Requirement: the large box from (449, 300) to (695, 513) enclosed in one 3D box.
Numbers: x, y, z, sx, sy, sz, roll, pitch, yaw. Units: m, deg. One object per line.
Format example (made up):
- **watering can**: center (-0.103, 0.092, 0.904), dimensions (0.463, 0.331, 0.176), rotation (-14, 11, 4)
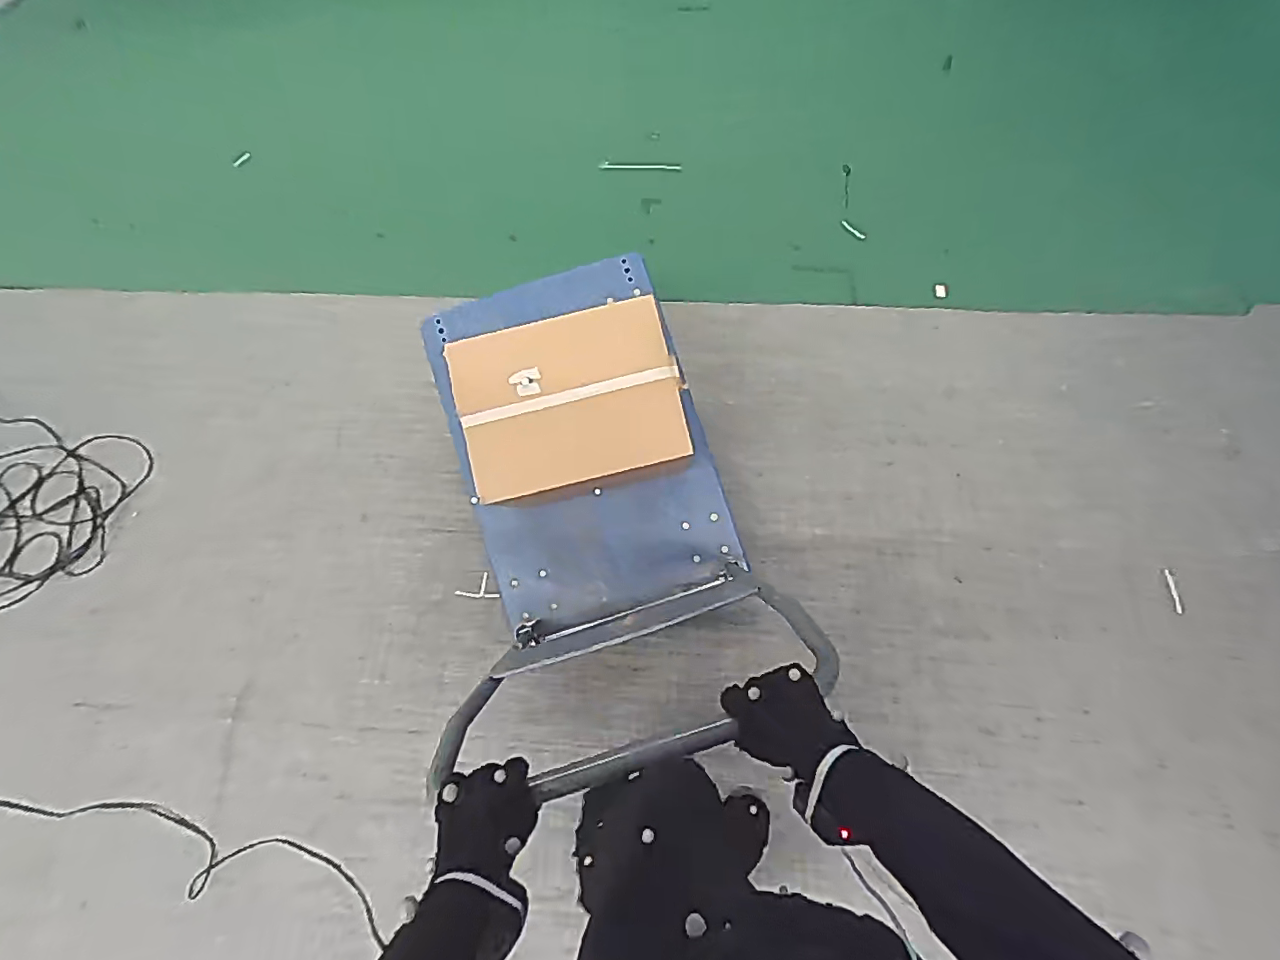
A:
- **large box**: center (-0.122, -0.128, 1.145), dimensions (0.408, 0.320, 0.320), rotation (-15, 85, 1)
